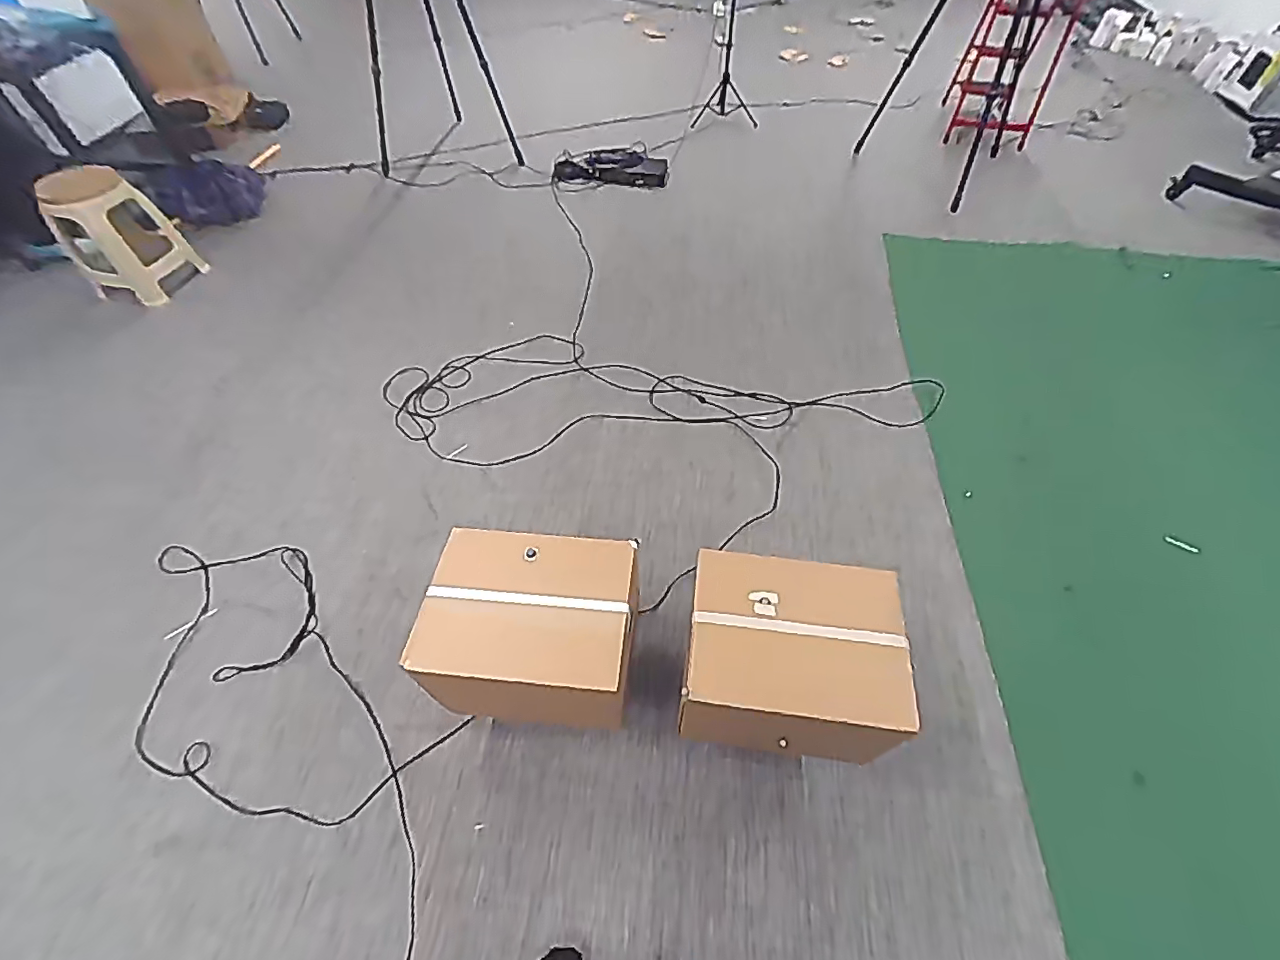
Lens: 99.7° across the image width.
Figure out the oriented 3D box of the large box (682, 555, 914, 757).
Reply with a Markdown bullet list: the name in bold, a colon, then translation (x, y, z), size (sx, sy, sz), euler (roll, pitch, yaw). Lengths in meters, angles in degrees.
- **large box**: translation (0.308, 0.386, 1.168), size (0.408, 0.320, 0.320), euler (6, 53, 6)
